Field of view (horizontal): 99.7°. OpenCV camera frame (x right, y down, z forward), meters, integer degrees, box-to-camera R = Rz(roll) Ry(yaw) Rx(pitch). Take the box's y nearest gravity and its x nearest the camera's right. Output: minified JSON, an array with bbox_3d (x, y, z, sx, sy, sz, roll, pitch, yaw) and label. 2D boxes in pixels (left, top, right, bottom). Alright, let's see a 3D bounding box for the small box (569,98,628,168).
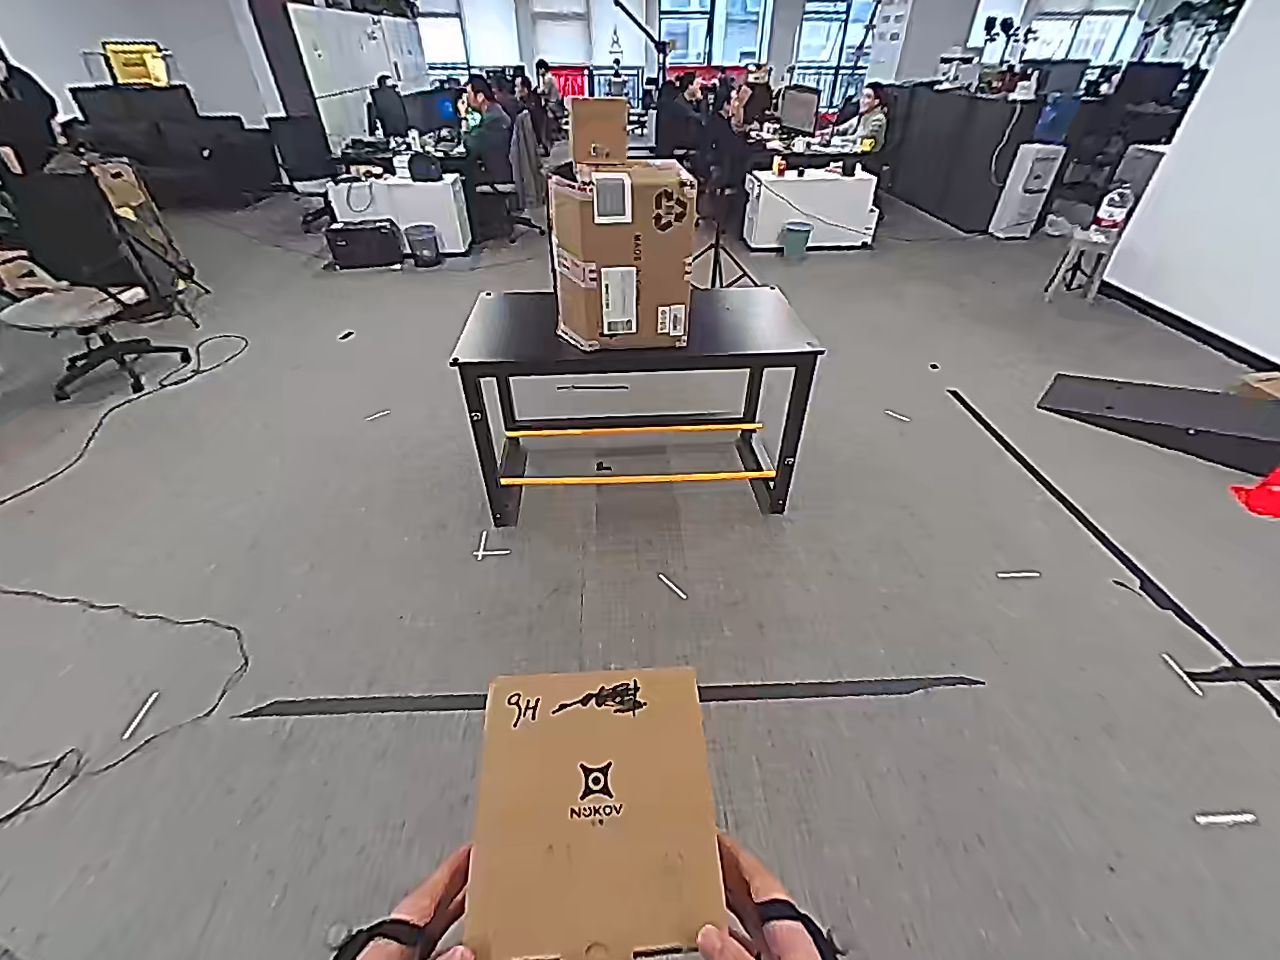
[{"bbox_3d":[-0.130,-1.066,1.659,0.168,0.176,0.179,-5,37,-8],"label":"small box"}]
